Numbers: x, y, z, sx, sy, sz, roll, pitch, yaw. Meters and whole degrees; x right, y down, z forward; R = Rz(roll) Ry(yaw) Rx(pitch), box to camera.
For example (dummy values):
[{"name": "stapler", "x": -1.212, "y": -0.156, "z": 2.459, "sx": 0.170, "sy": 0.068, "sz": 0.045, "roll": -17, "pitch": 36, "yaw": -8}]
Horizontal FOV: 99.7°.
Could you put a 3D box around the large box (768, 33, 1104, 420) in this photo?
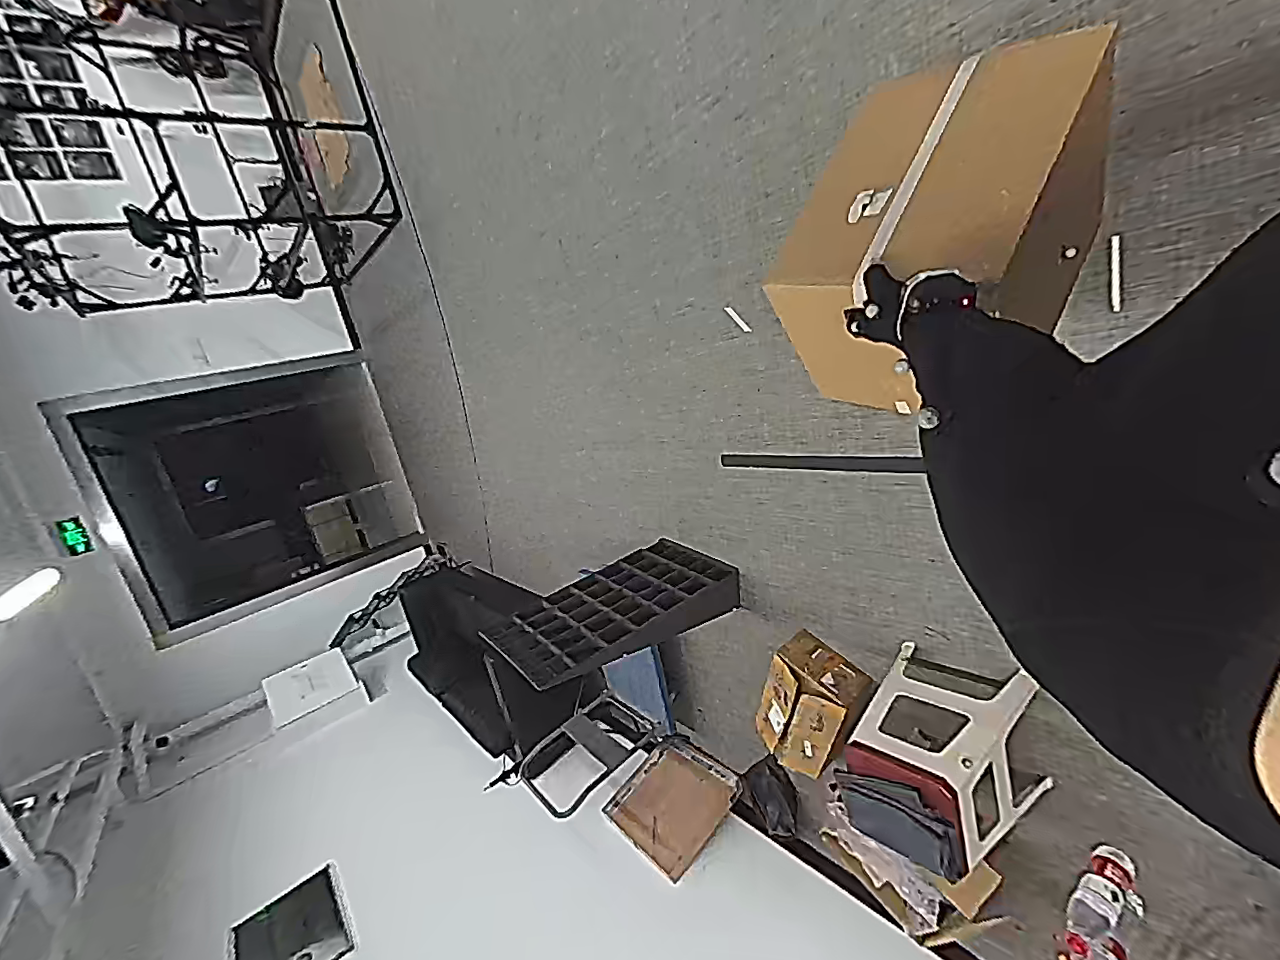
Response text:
[{"name": "large box", "x": 0.467, "y": -0.360, "z": 0.848, "sx": 0.320, "sy": 0.408, "sz": 0.320, "roll": 19, "pitch": 167, "yaw": 44}]
